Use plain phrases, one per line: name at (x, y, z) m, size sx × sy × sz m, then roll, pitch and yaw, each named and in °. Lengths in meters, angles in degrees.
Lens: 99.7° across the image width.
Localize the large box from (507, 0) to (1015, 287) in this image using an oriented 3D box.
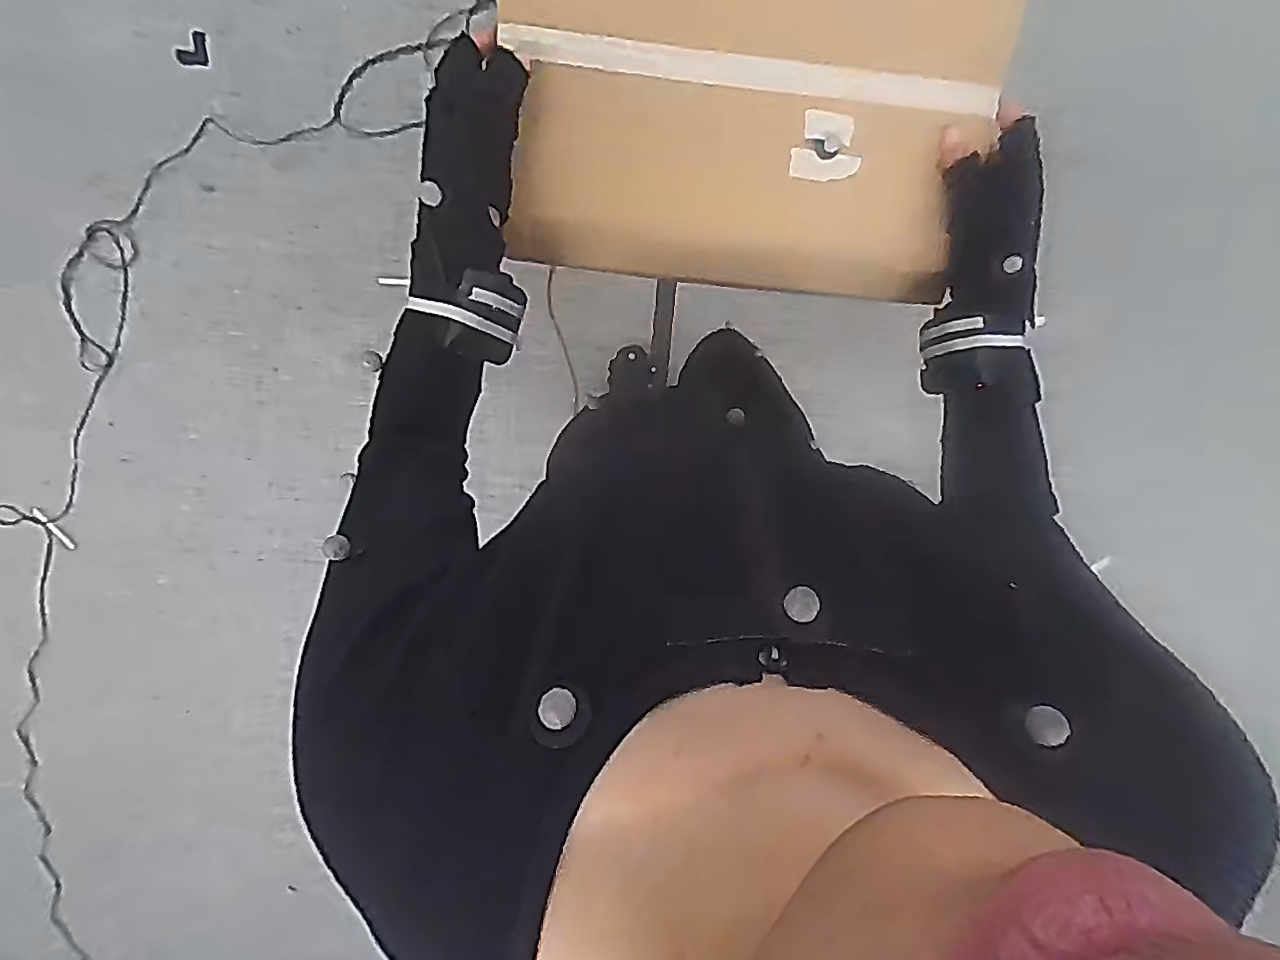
large box at (0.085, -0.384, 0.575) m, size 0.408 × 0.320 × 0.320 m, roll 4°, pitch 111°, yaw -4°
